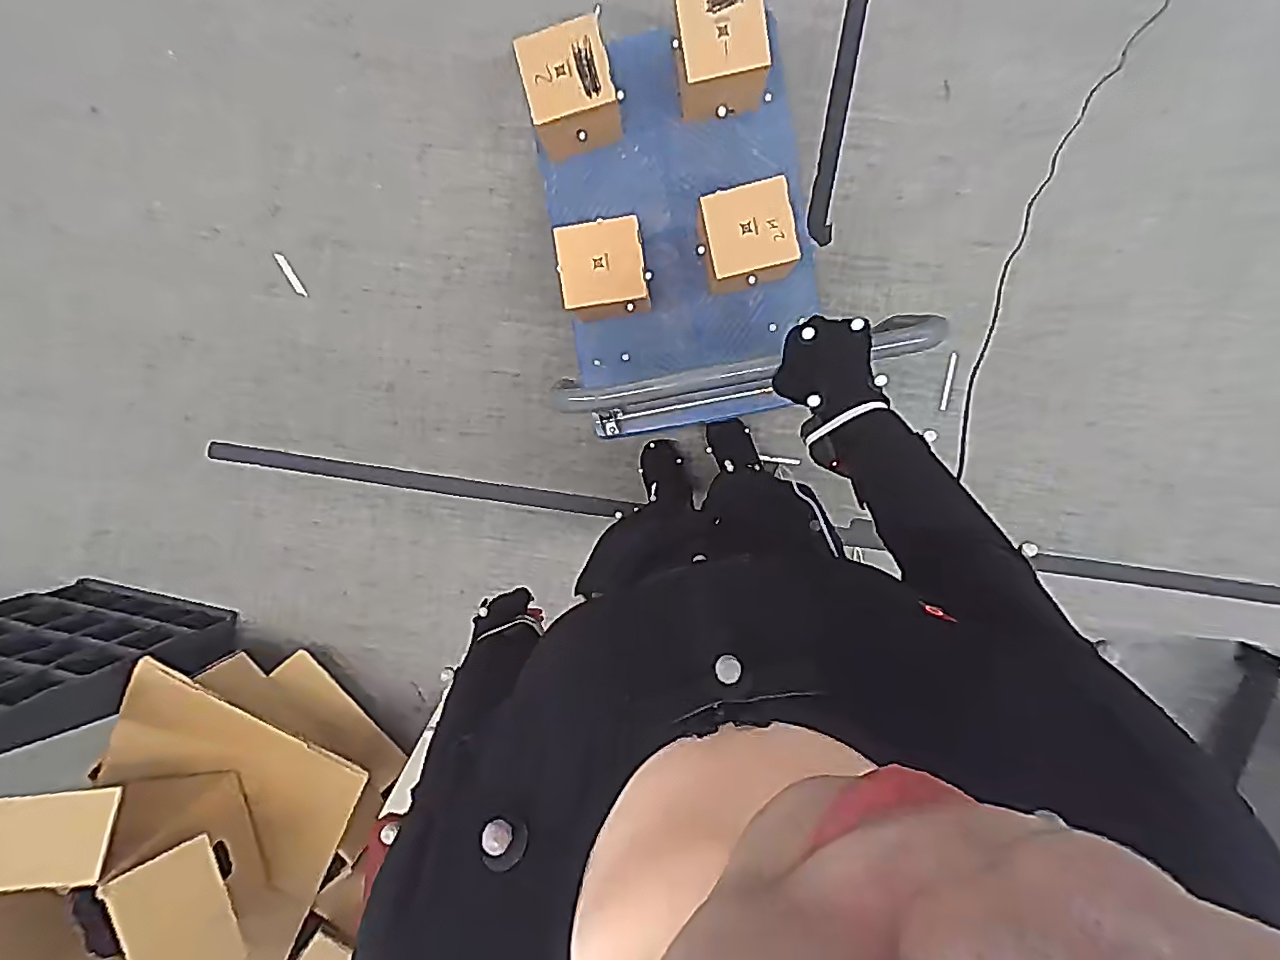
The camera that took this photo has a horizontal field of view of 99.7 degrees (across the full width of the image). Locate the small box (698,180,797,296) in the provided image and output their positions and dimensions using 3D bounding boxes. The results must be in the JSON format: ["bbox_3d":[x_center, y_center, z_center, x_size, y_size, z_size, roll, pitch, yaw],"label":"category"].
[{"bbox_3d":[0.223,-0.509,1.165,0.179,0.176,0.168,-12,96,5],"label":"small box"}]

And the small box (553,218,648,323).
[{"bbox_3d":[-0.079,-0.452,1.191,0.179,0.176,0.168,-8,96,3],"label":"small box"}]

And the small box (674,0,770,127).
[{"bbox_3d":[0.163,-0.879,1.123,0.168,0.176,0.179,-9,98,4],"label":"small box"}]
